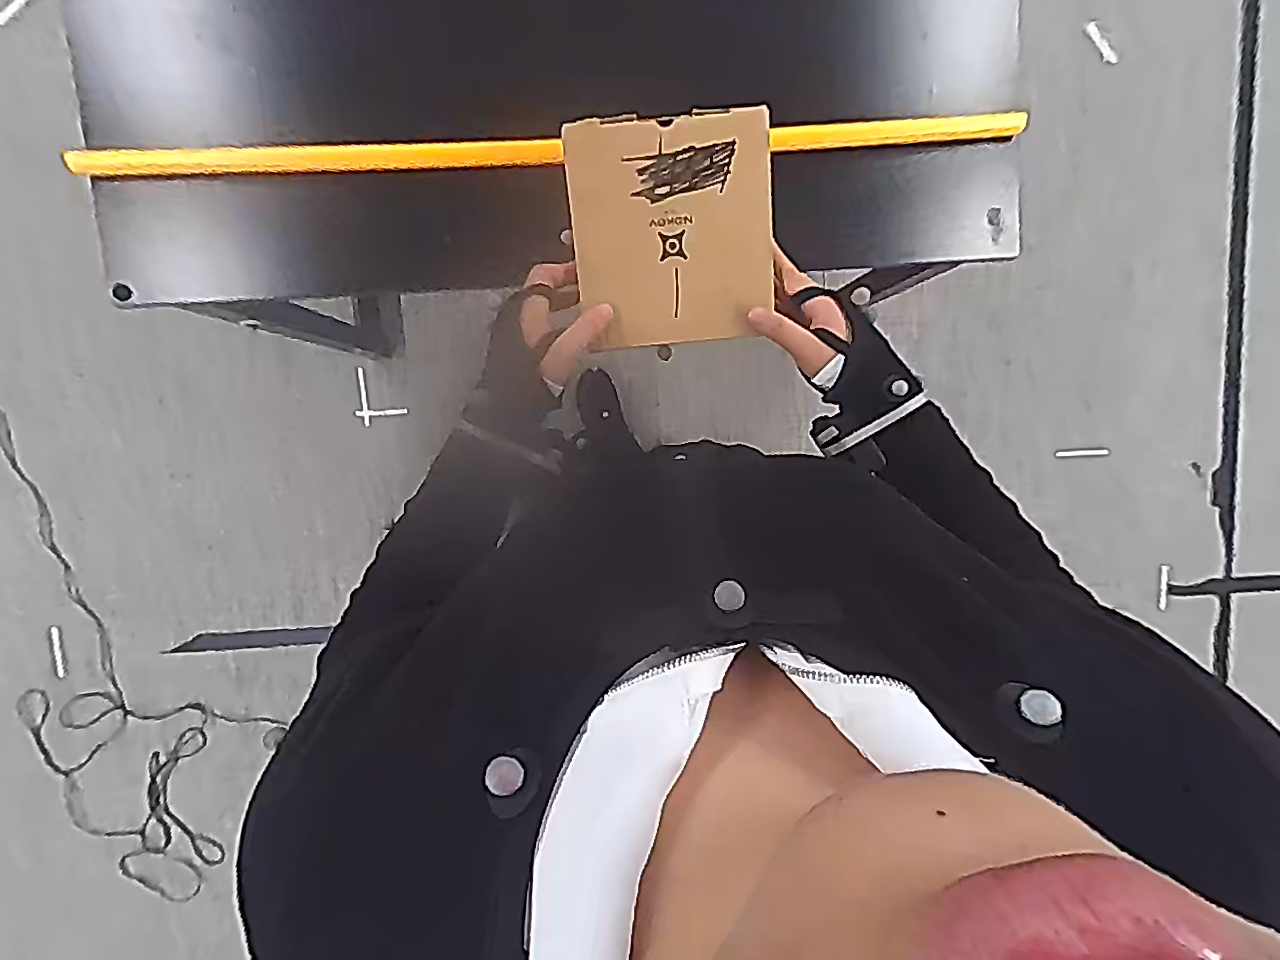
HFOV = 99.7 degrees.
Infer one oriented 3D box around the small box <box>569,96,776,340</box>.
[{"bbox_3d":[0.026,-0.232,0.523,0.168,0.176,0.179,-5,104,0],"label":"small box"}]
